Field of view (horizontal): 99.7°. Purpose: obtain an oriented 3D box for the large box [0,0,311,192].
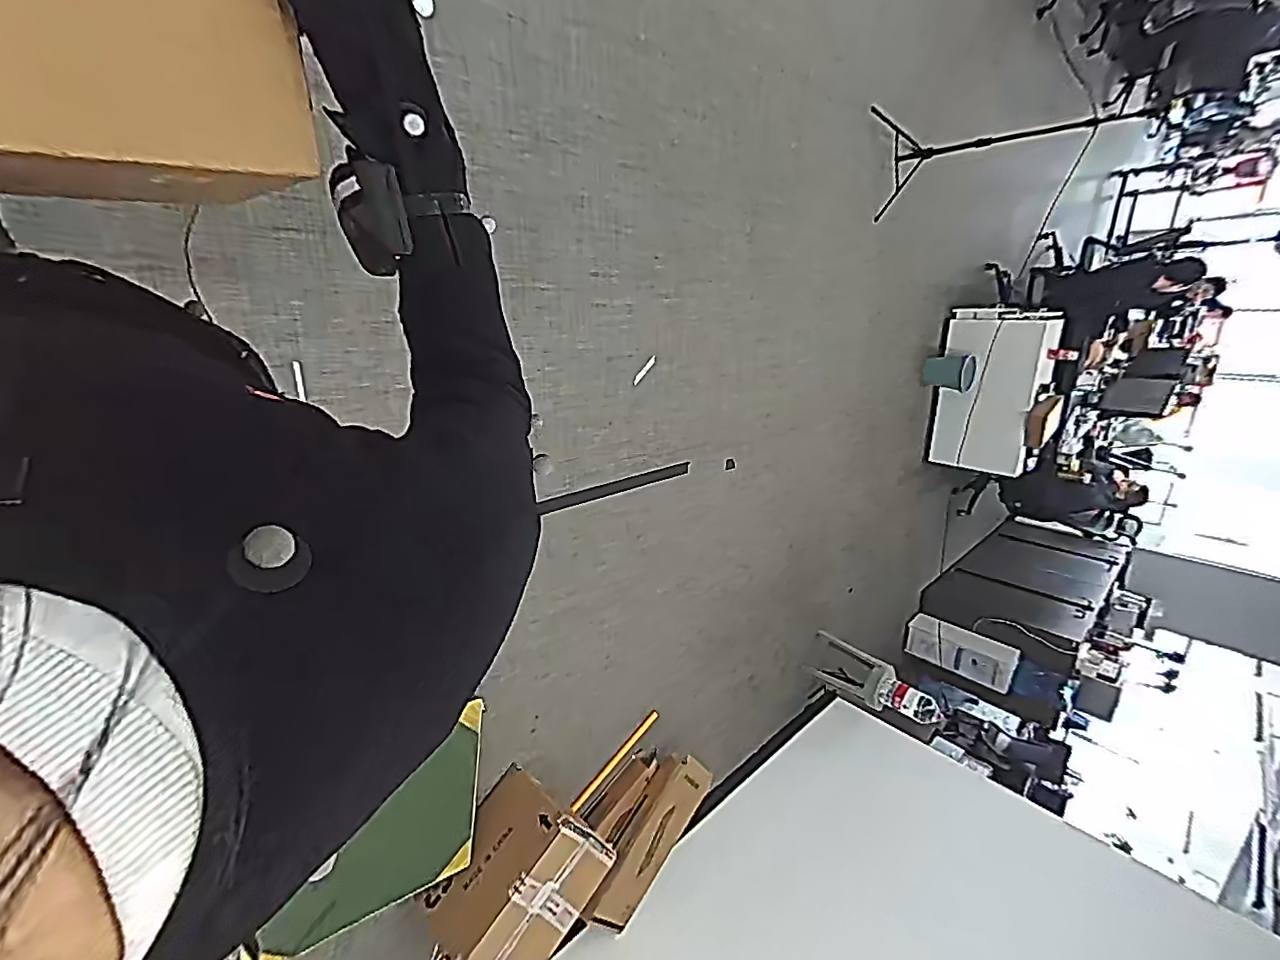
[{"bbox_3d":[-0.469,-0.342,0.278,0.408,0.320,0.320,-21,122,-41],"label":"large box"}]
